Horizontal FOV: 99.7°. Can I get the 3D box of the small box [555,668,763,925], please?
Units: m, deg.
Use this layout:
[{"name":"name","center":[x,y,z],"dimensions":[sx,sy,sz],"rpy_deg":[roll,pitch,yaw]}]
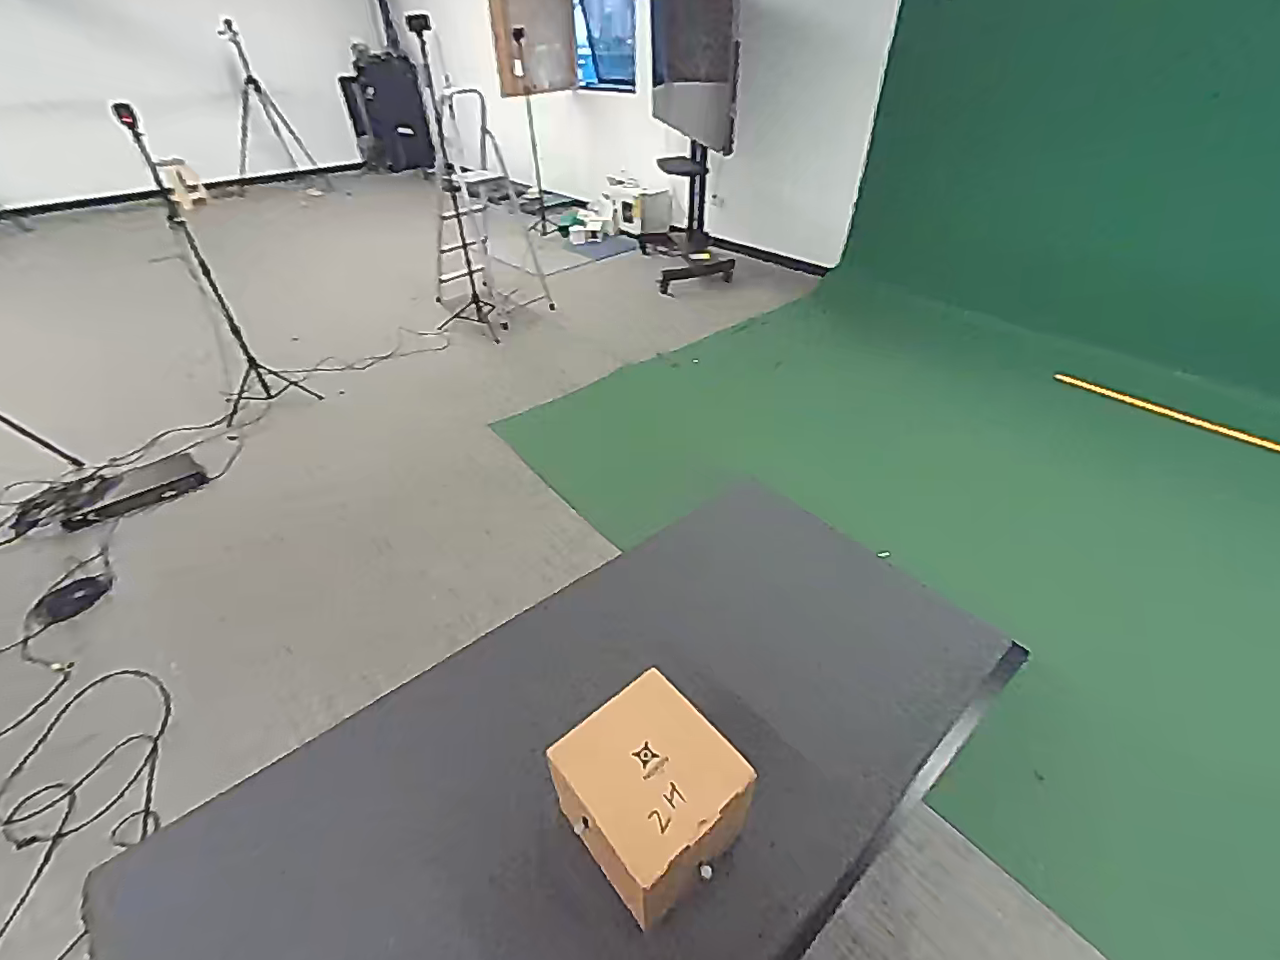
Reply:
[{"name":"small box","center":[0.019,0.374,0.647],"dimensions":[0.168,0.176,0.179],"rpy_deg":[-29,46,-29]}]
